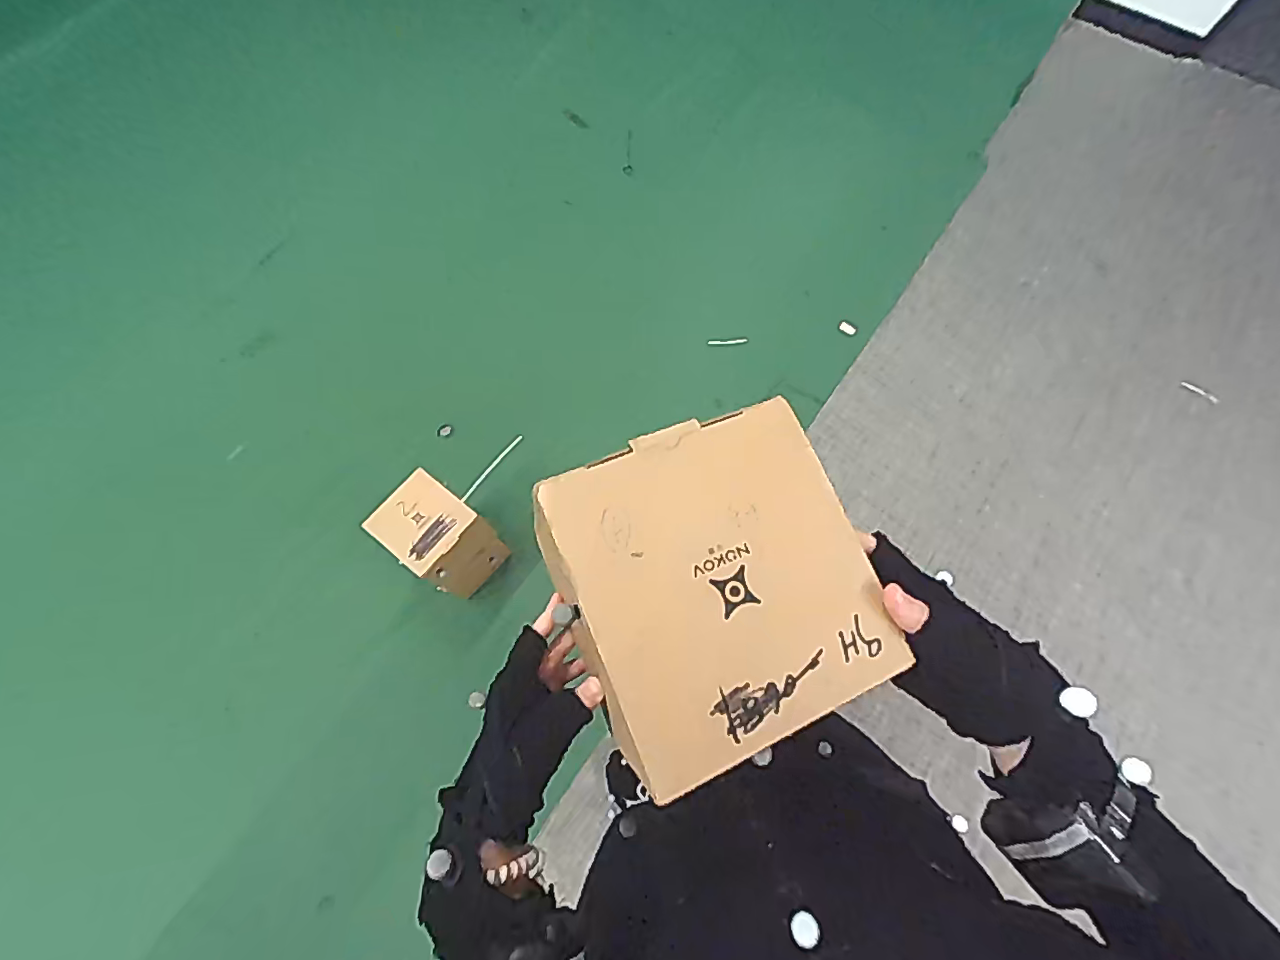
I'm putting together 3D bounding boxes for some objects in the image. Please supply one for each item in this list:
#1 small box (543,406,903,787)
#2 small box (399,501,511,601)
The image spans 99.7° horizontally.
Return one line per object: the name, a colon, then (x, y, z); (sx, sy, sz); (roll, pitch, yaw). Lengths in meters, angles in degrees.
small box: (0.034, 0.077, 0.385); (0.168, 0.176, 0.179); (-20, 78, -15)
small box: (-0.446, 0.183, 1.336); (0.179, 0.176, 0.168); (39, 74, 12)
